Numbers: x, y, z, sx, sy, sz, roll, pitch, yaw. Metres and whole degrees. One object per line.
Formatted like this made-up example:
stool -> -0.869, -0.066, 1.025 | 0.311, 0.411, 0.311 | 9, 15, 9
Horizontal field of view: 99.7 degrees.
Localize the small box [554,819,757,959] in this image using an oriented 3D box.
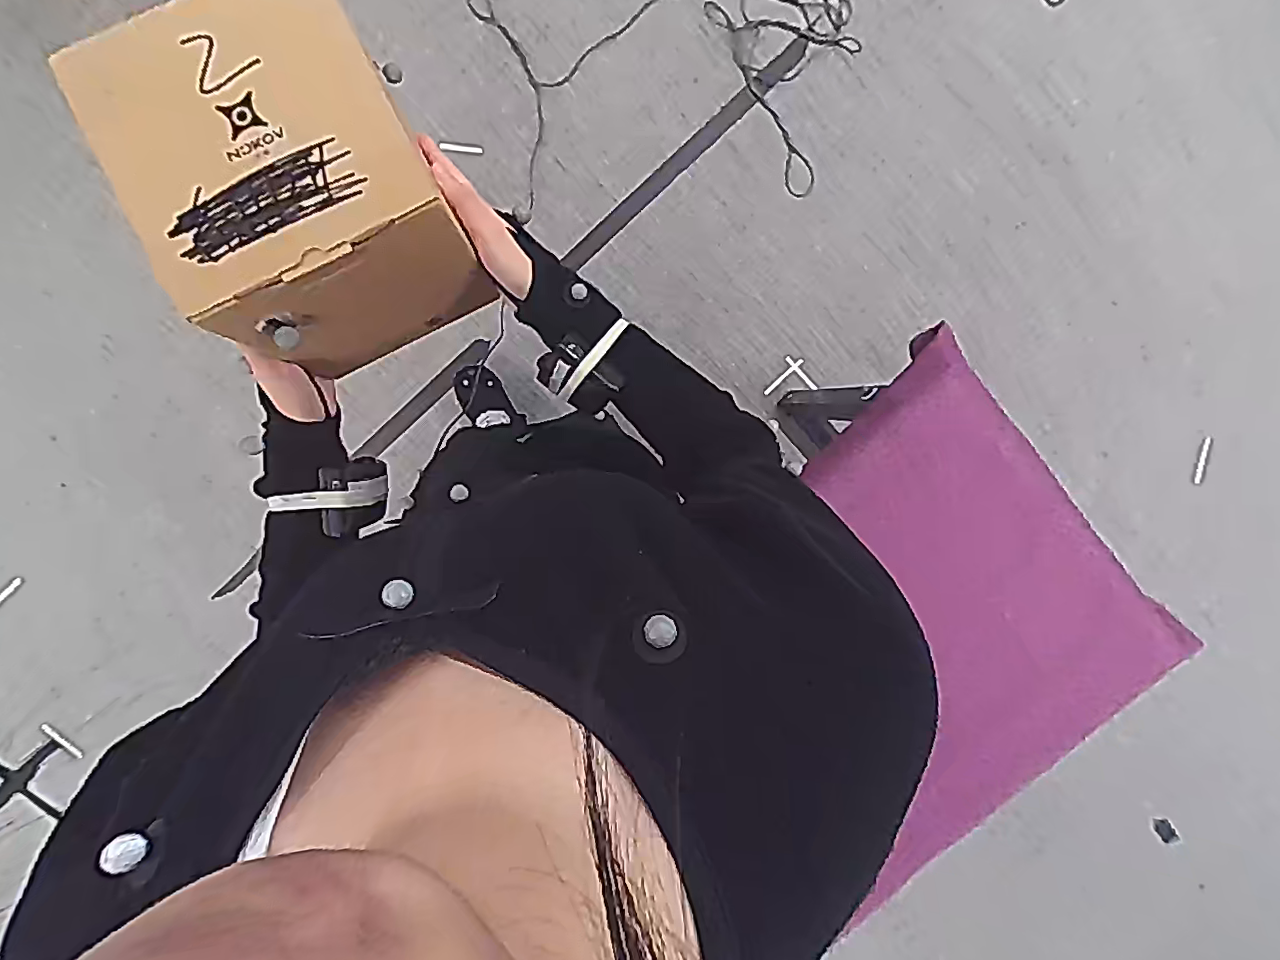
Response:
small box -> 0.015, 0.525, 0.604 | 0.168, 0.176, 0.179 | -41, 98, 3
